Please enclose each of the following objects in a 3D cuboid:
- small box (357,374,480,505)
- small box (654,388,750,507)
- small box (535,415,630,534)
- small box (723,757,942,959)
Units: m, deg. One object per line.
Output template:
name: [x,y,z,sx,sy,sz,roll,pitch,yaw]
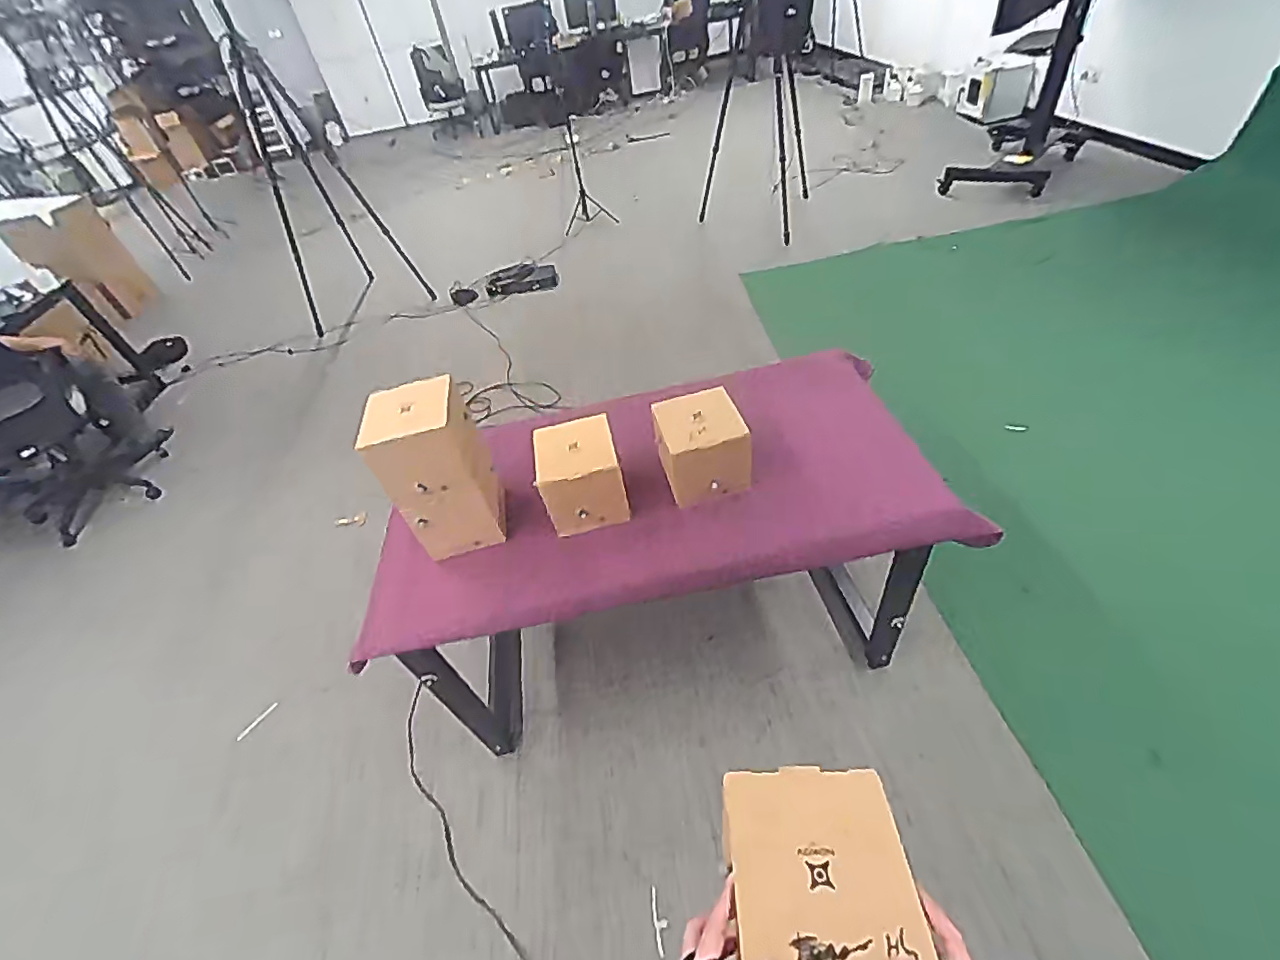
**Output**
small box: [-0.424,-0.079,1.066,0.168,0.176,0.179,-14,45,-2]
small box: [0.134,-0.070,1.179,0.168,0.176,0.179,-15,45,-2]
small box: [-0.125,-0.012,1.176,0.168,0.176,0.179,-14,46,-2]
small box: [0.177,0.417,0.565,0.168,0.176,0.179,-3,37,4]
